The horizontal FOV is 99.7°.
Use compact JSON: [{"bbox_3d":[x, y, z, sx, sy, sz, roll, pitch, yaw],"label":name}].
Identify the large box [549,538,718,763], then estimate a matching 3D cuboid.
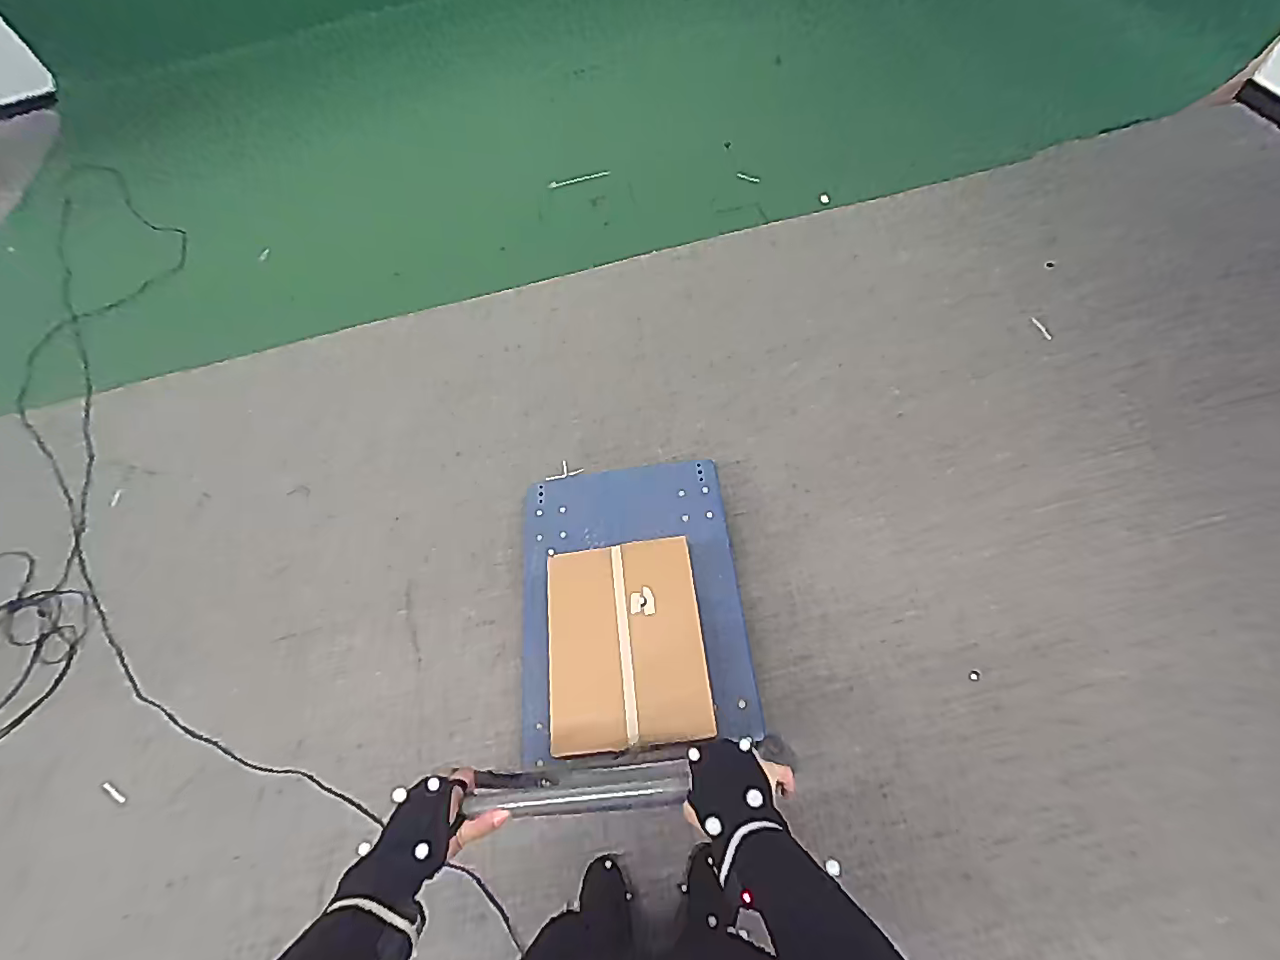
[{"bbox_3d":[-0.011,0.394,1.222,0.320,0.320,0.408,-8,60,3],"label":"large box"}]
